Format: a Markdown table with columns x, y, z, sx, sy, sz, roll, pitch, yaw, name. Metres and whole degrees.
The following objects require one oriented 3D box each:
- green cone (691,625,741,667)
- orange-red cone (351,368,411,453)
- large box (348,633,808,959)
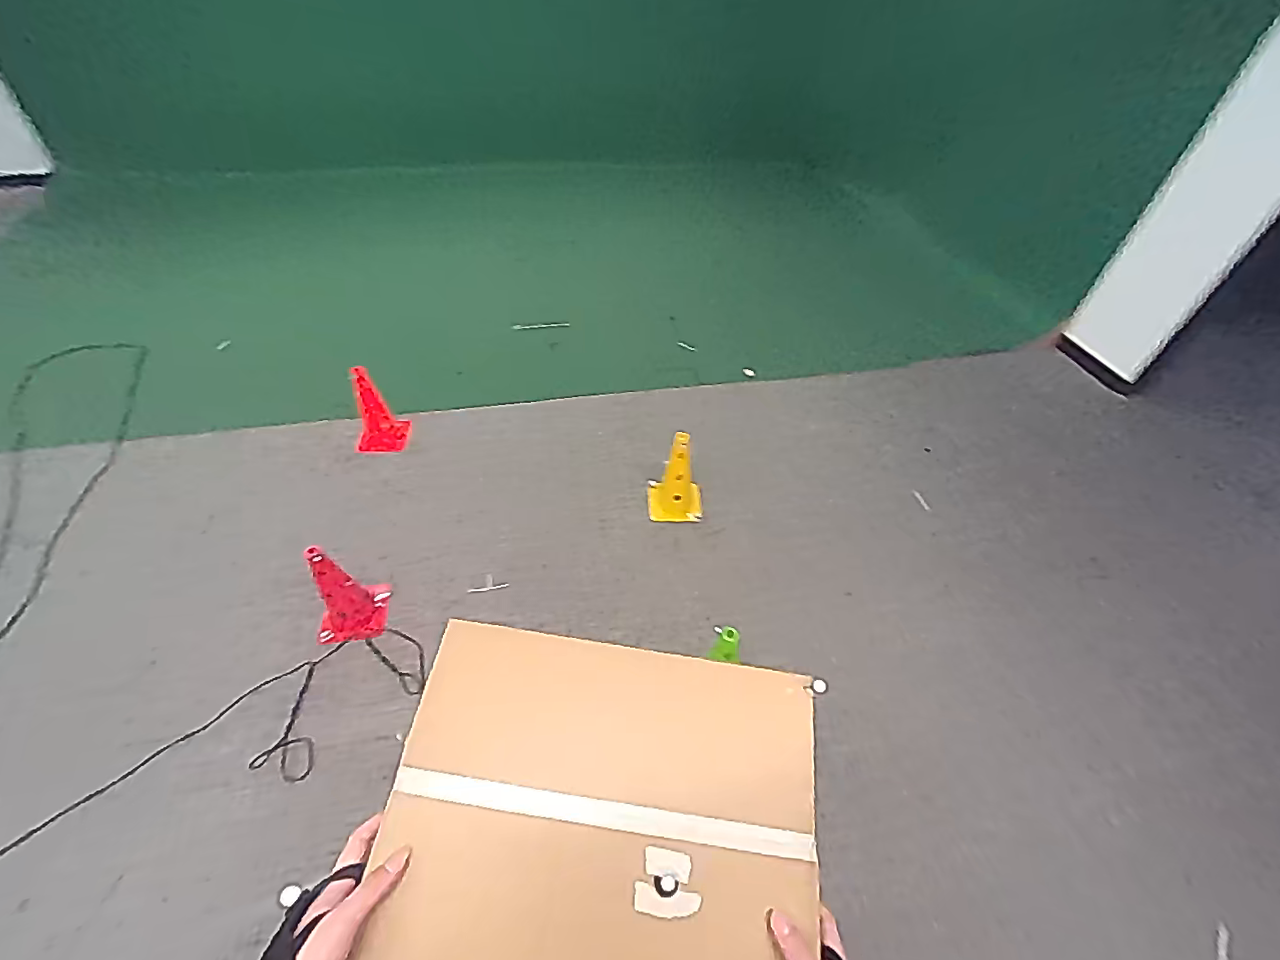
| x | y | z | sx | sy | sz | roll | pitch | yaw | name |
| --- | --- | --- | --- | --- | --- | --- | --- | --- | --- |
| 0.234 | 0.522 | 1.533 | 0.200 | 0.368 | 0.202 | -2 | 46 | -5 | green cone |
| -1.110 | -0.303 | 2.227 | 0.199 | 0.360 | 0.198 | -2 | 46 | -3 | orange-red cone |
| -0.048 | 0.400 | 0.649 | 0.408 | 0.320 | 0.320 | 7 | 59 | 1 | large box |
